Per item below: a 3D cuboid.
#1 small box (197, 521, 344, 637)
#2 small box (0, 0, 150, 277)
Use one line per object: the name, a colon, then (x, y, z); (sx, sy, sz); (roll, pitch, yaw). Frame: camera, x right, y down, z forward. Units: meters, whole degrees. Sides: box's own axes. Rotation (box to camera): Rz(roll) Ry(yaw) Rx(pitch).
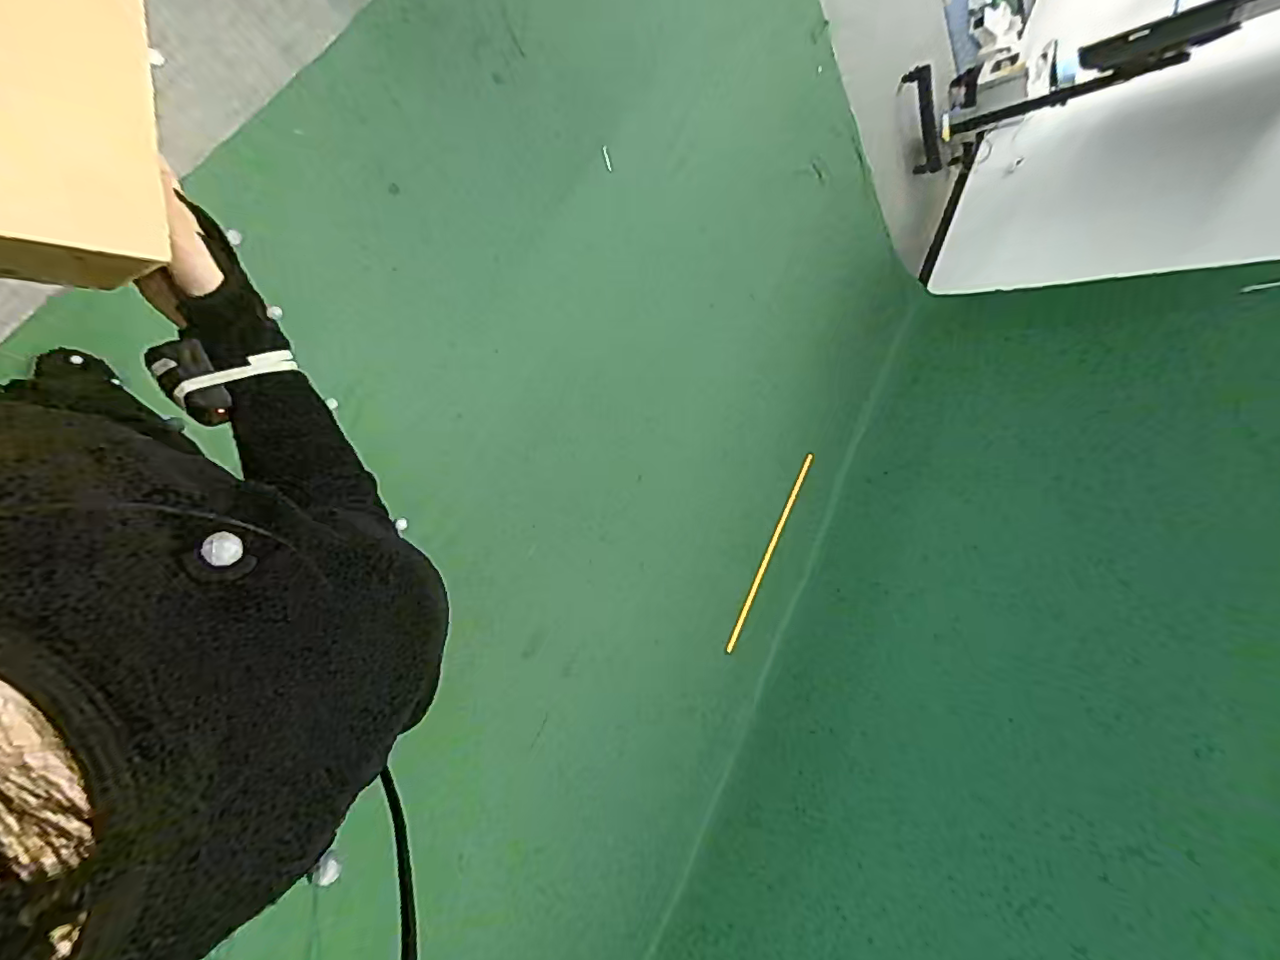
small box: (-0.767, 0.199, 1.124); (0.179, 0.176, 0.168); (43, 66, -42)
small box: (-0.416, -0.226, 0.309); (0.168, 0.176, 0.179); (-10, 103, -54)
